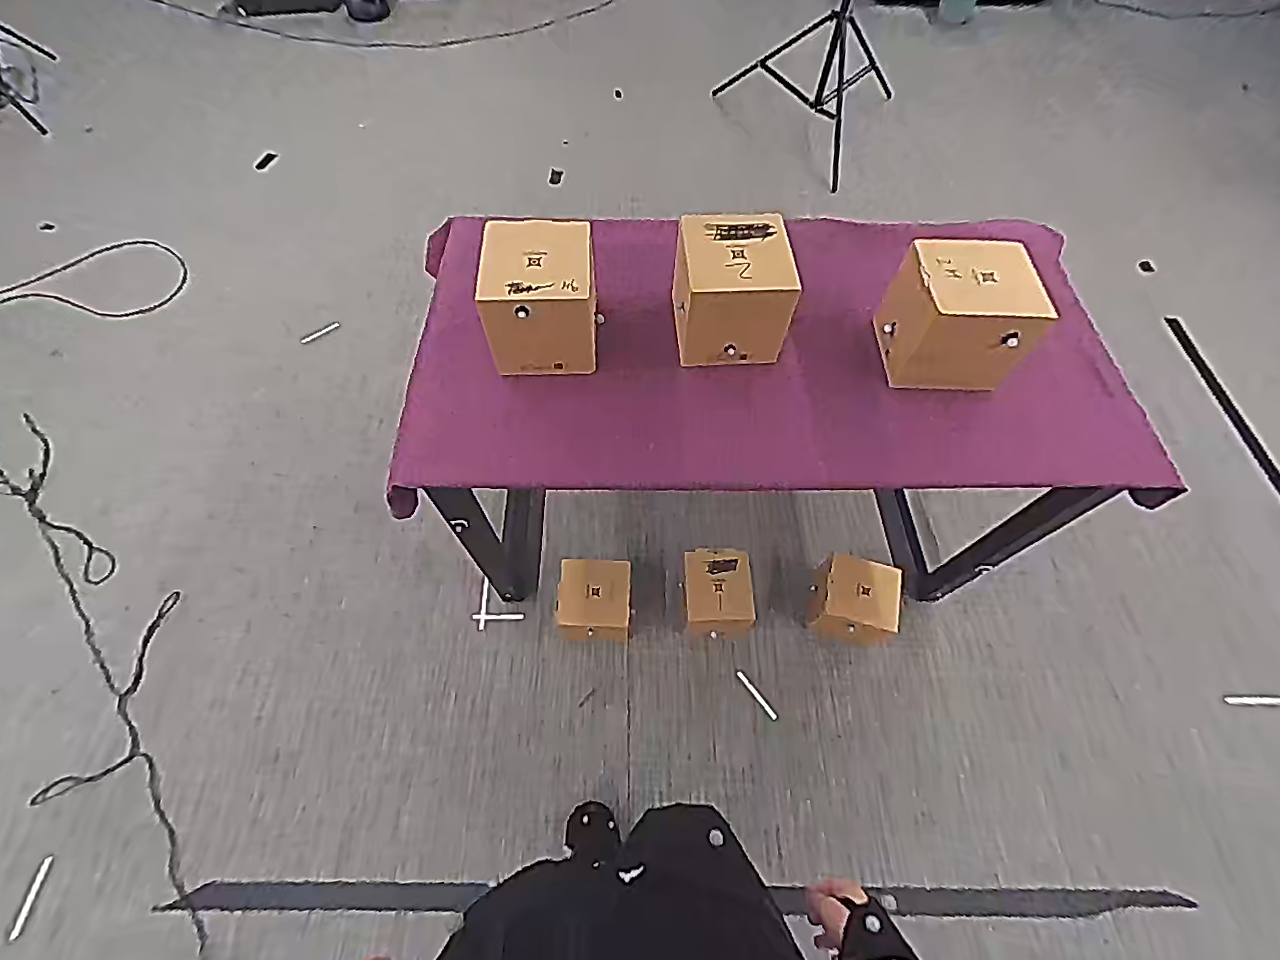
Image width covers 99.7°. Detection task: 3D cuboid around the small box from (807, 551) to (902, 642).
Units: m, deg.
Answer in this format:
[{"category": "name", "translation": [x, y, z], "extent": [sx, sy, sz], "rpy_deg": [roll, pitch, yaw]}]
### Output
[{"category": "small box", "translation": [0.549, 0.306, 1.397], "extent": [0.179, 0.176, 0.168], "rpy_deg": [14, 62, 8]}]

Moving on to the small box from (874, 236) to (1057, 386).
[{"category": "small box", "translation": [0.510, -0.267, 0.877], "extent": [0.179, 0.176, 0.168], "rpy_deg": [1, 60, 0]}]

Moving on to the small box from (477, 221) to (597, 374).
[{"category": "small box", "translation": [-0.157, -0.294, 0.882], "extent": [0.168, 0.176, 0.179], "rpy_deg": [-2, 61, -2]}]

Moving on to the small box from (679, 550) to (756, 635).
[{"category": "small box", "translation": [0.193, 0.292, 1.397], "extent": [0.168, 0.176, 0.179], "rpy_deg": [-1, 62, -1]}]
